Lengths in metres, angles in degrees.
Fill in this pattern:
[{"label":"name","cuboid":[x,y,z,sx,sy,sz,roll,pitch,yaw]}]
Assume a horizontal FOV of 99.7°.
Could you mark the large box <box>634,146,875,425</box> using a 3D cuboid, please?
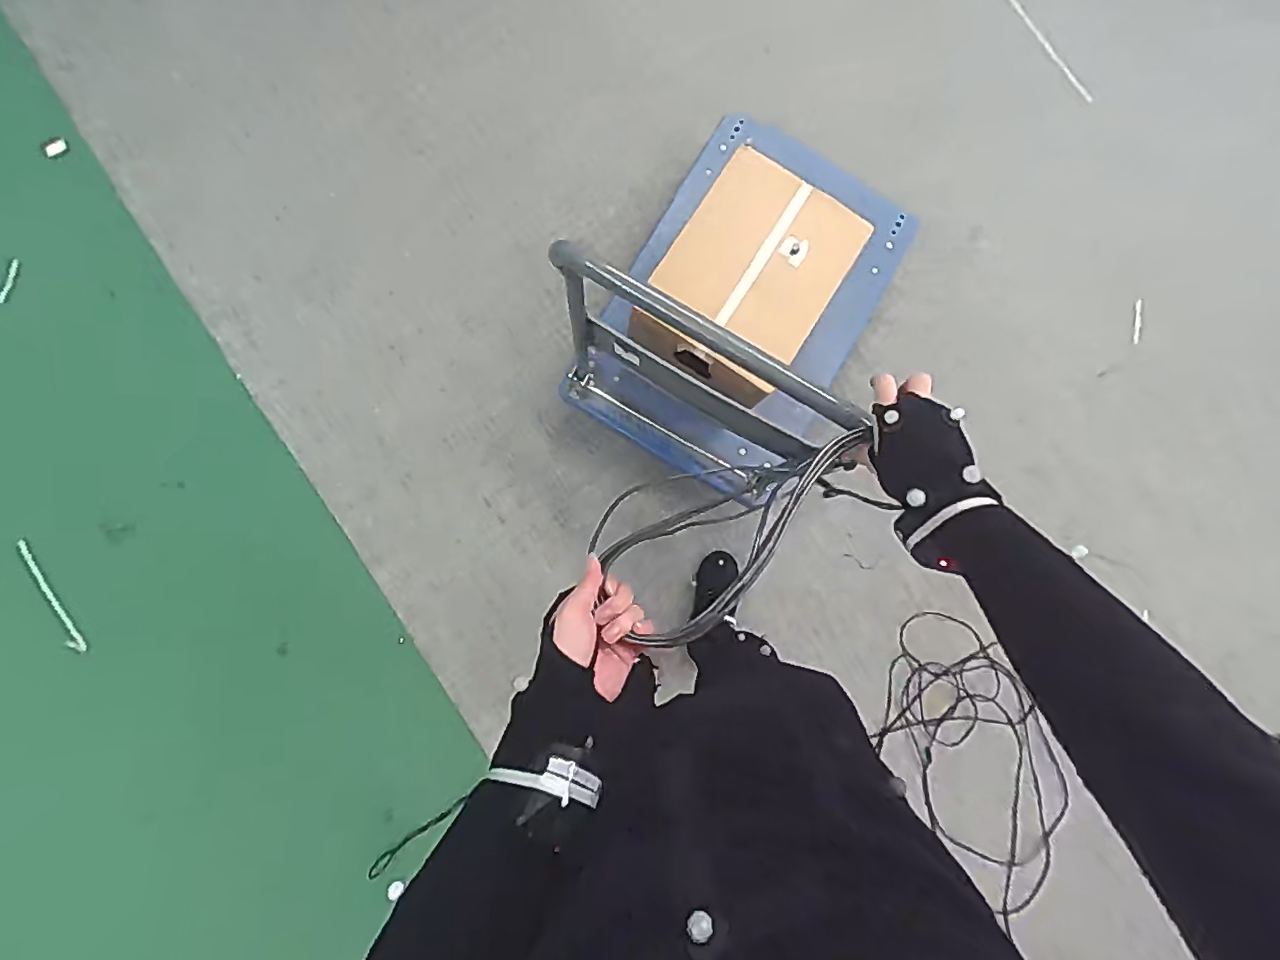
[{"label":"large box","cuboid":[0.218,-0.387,1.171,0.320,0.320,0.408,33,82,0]}]
